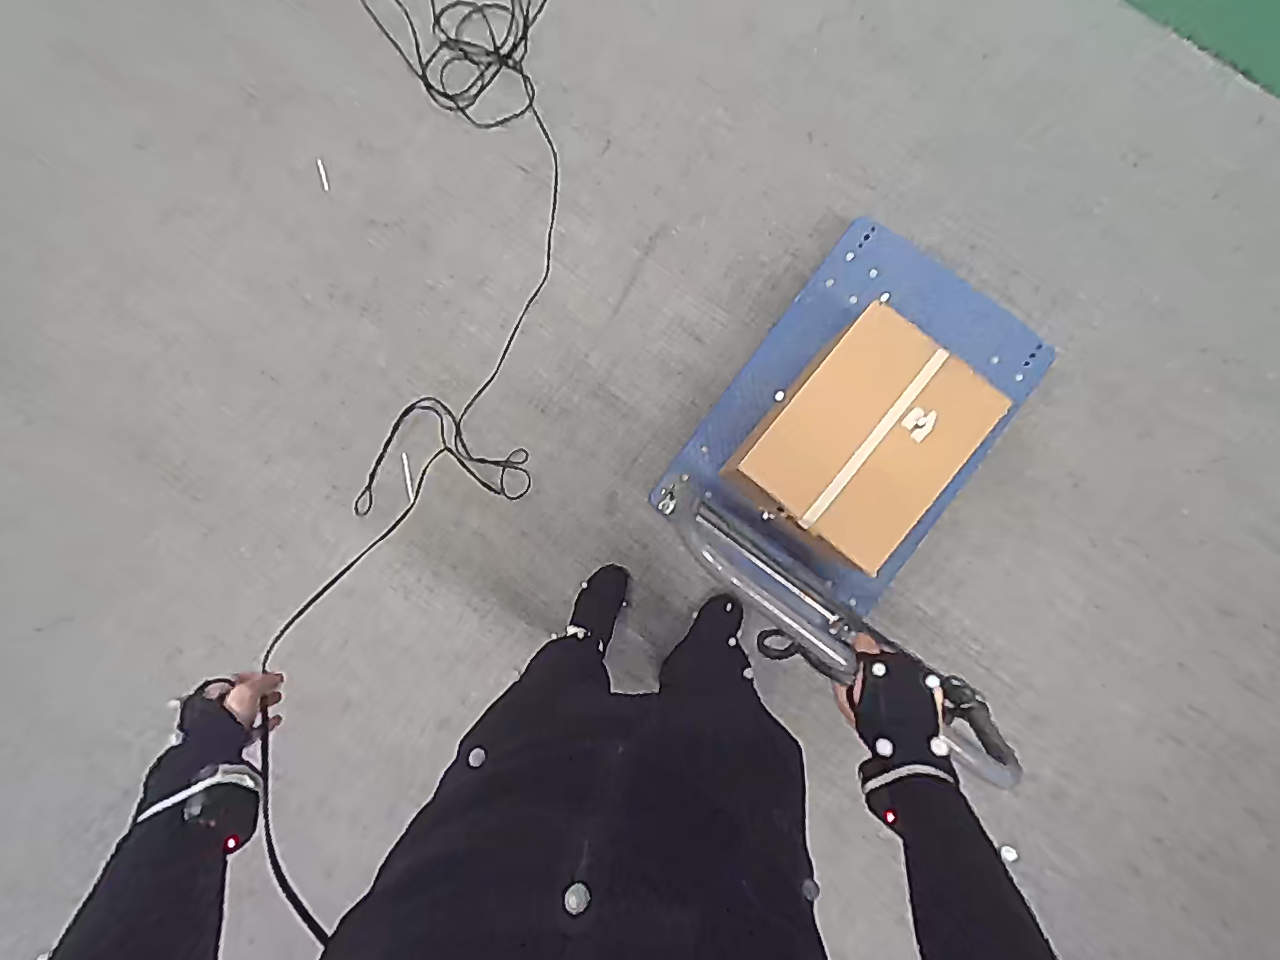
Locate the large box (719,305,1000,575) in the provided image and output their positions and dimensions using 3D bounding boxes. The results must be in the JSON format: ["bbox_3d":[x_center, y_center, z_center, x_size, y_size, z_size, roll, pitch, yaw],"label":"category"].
[{"bbox_3d":[0.417,-0.066,1.129,0.320,0.320,0.408,40,89,2],"label":"large box"}]
